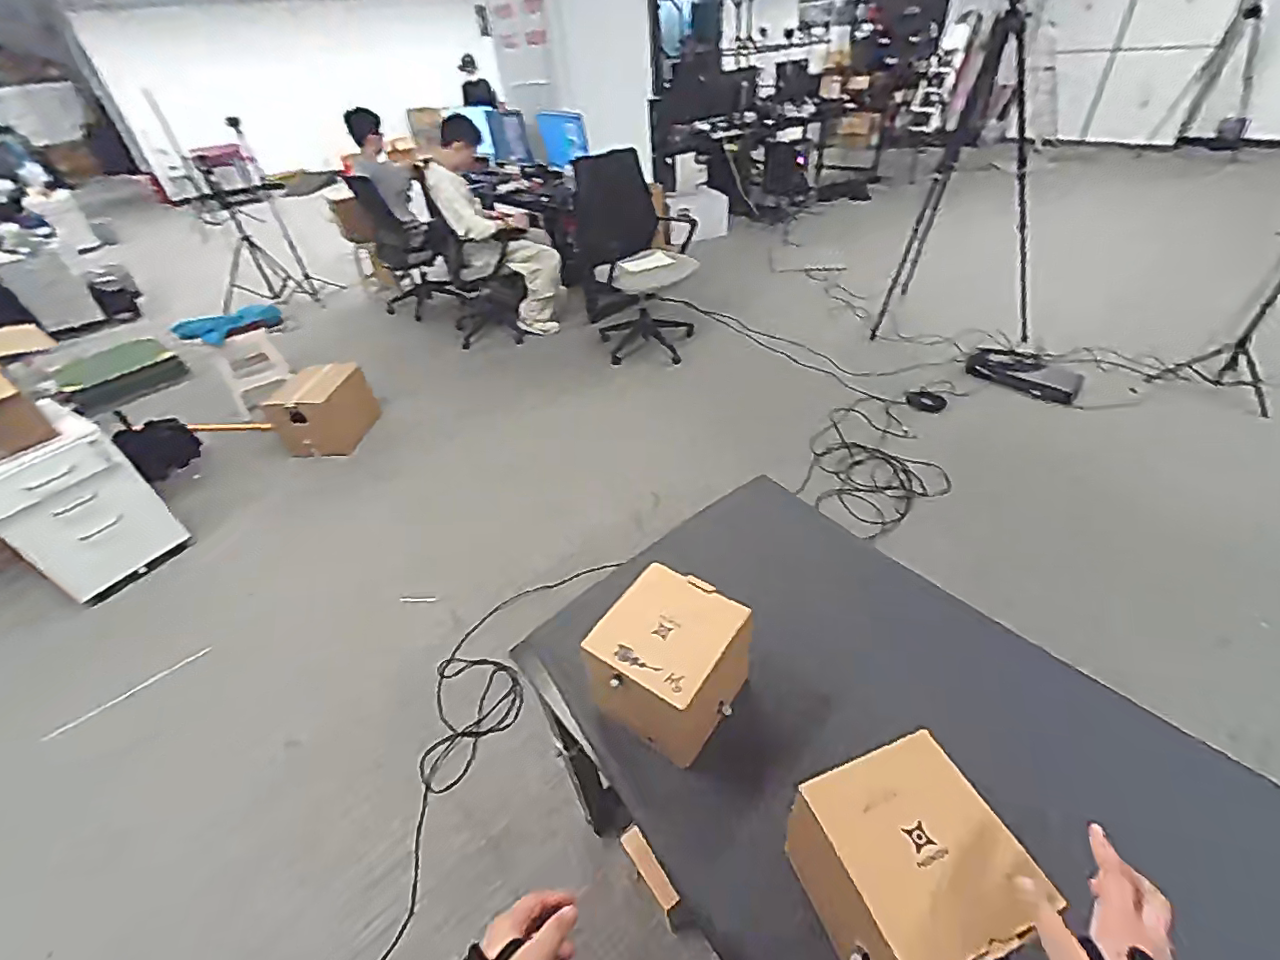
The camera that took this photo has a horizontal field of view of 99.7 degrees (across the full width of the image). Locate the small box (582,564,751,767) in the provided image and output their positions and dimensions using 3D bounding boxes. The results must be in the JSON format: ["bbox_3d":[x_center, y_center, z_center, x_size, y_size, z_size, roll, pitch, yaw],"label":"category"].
[{"bbox_3d":[0.040,0.261,0.773,0.168,0.176,0.179,22,47,31],"label":"small box"}]

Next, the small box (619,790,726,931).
[{"bbox_3d":[0.076,0.850,1.207,0.179,0.176,0.168,-27,43,-25],"label":"small box"}]

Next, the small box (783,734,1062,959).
[{"bbox_3d":[0.266,0.410,0.558,0.168,0.176,0.179,-15,37,-14],"label":"small box"}]
